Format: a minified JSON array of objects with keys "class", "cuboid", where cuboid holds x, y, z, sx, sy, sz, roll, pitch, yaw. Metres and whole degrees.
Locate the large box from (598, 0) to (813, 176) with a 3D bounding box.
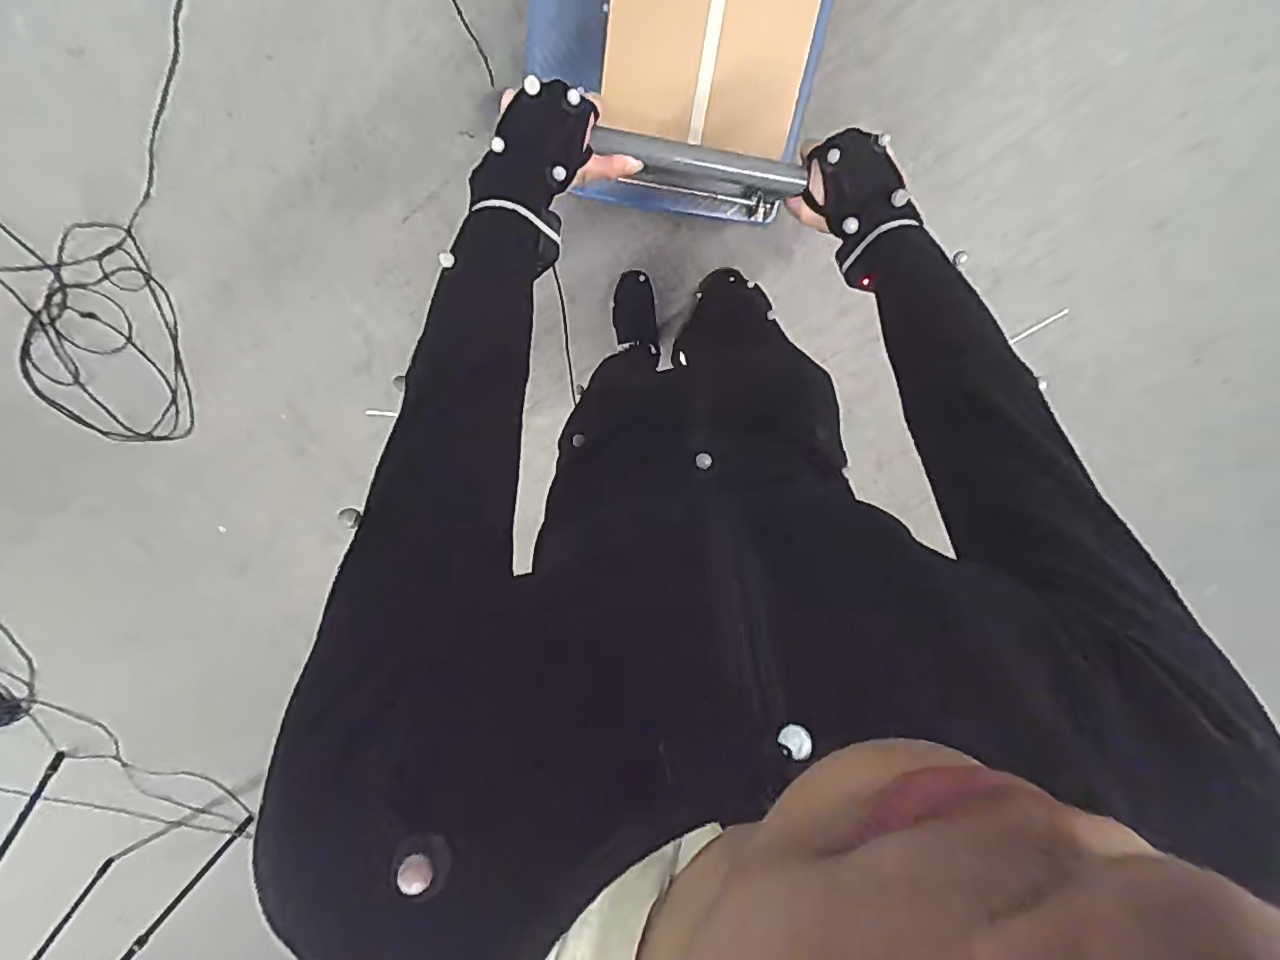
[{"class":"large box","cuboid":[0.105,-0.791,0.955,0.320,0.320,0.408,7,116,-6]}]
